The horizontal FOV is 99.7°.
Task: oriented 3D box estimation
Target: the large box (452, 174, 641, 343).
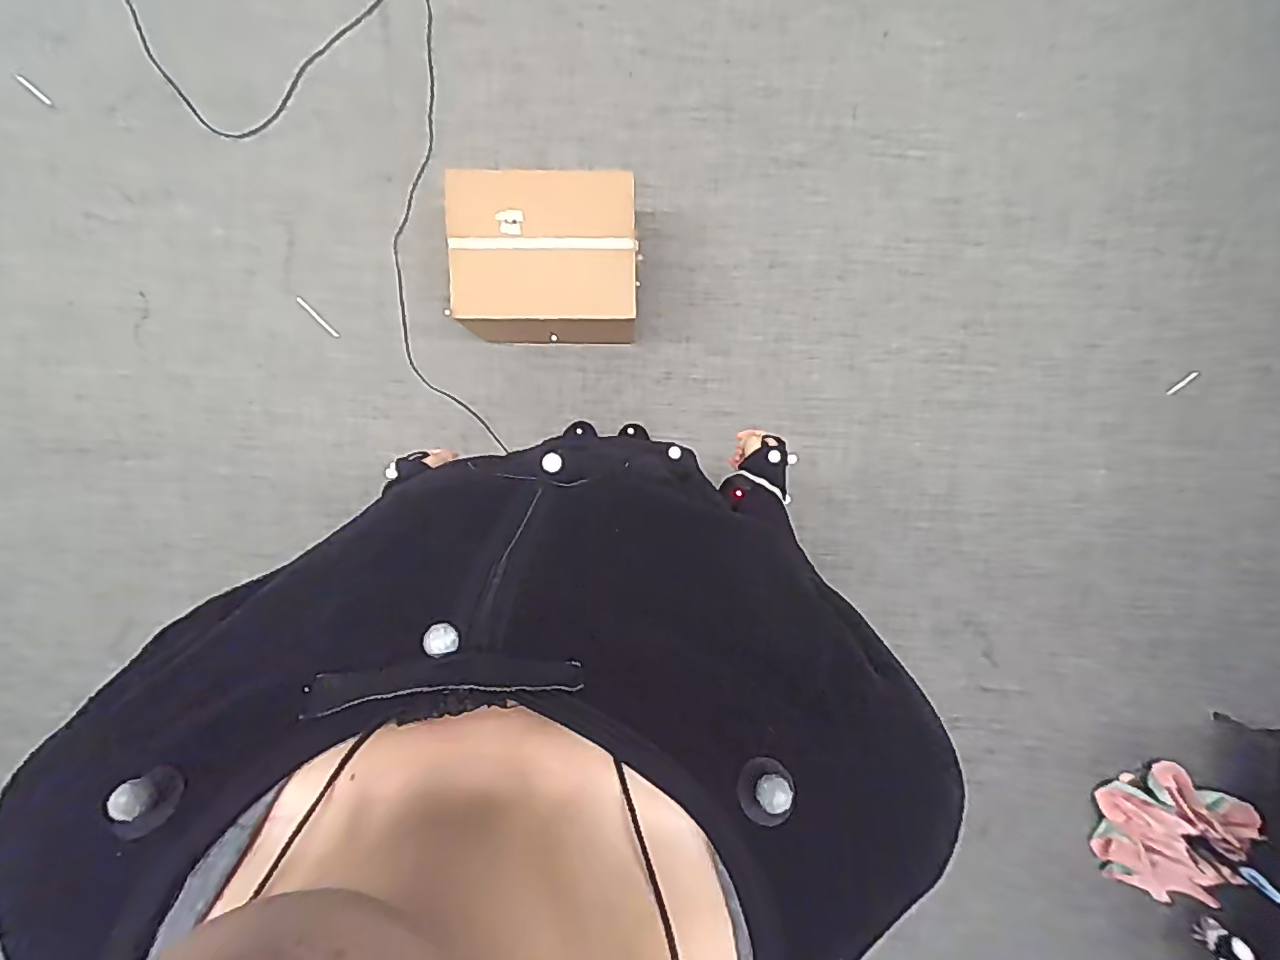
[{"bbox_3d":[-0.204,-0.514,1.319,0.408,0.320,0.320,0,94,-1],"label":"large box"}]
